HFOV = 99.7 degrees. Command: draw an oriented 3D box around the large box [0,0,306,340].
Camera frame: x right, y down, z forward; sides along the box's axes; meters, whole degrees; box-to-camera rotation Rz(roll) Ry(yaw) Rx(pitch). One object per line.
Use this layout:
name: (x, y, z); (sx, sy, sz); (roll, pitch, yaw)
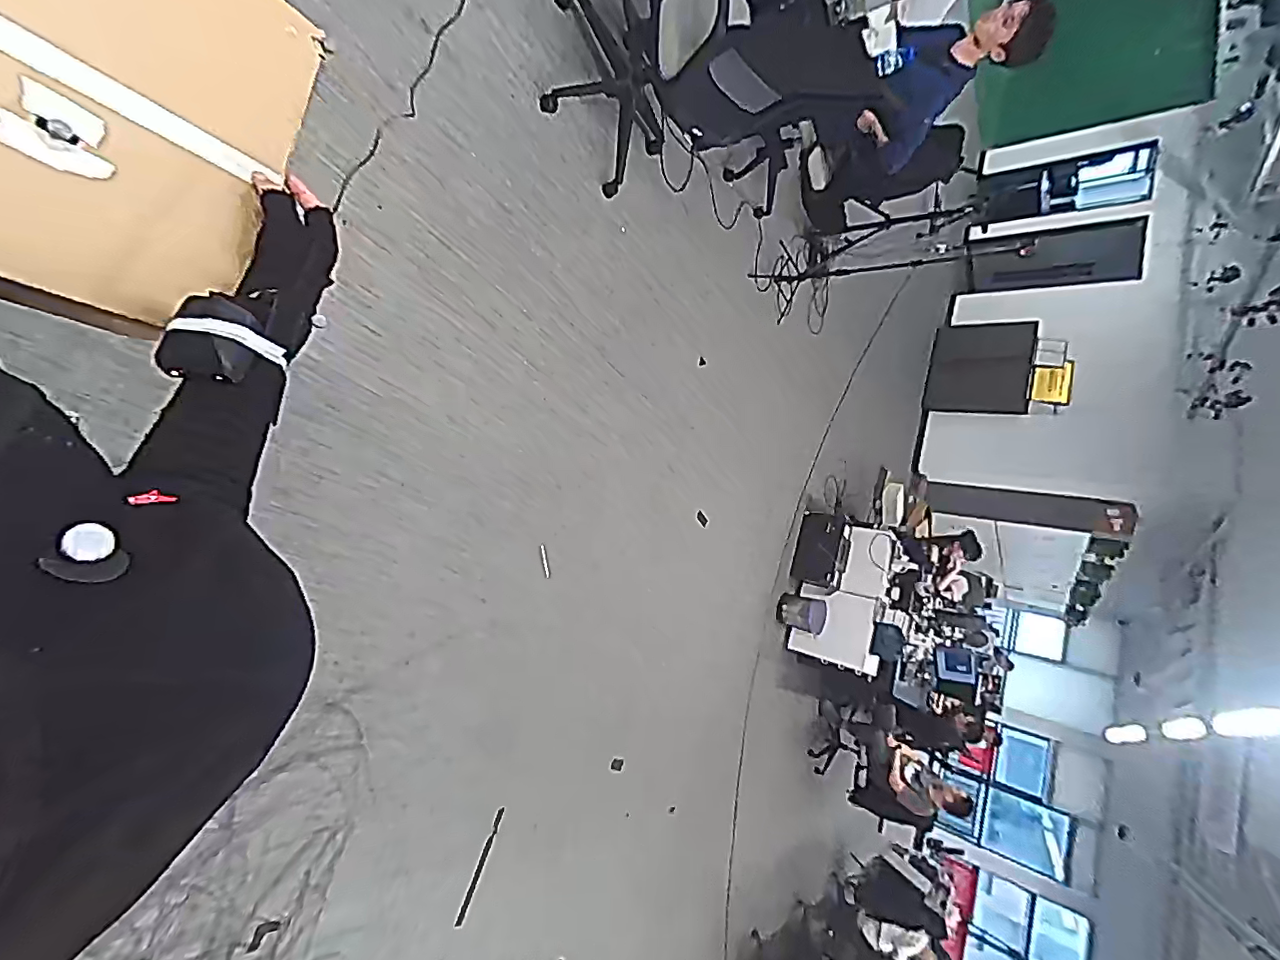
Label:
large box: (-0.581, -0.334, 0.429); (0.408, 0.320, 0.320); (18, 87, -55)
